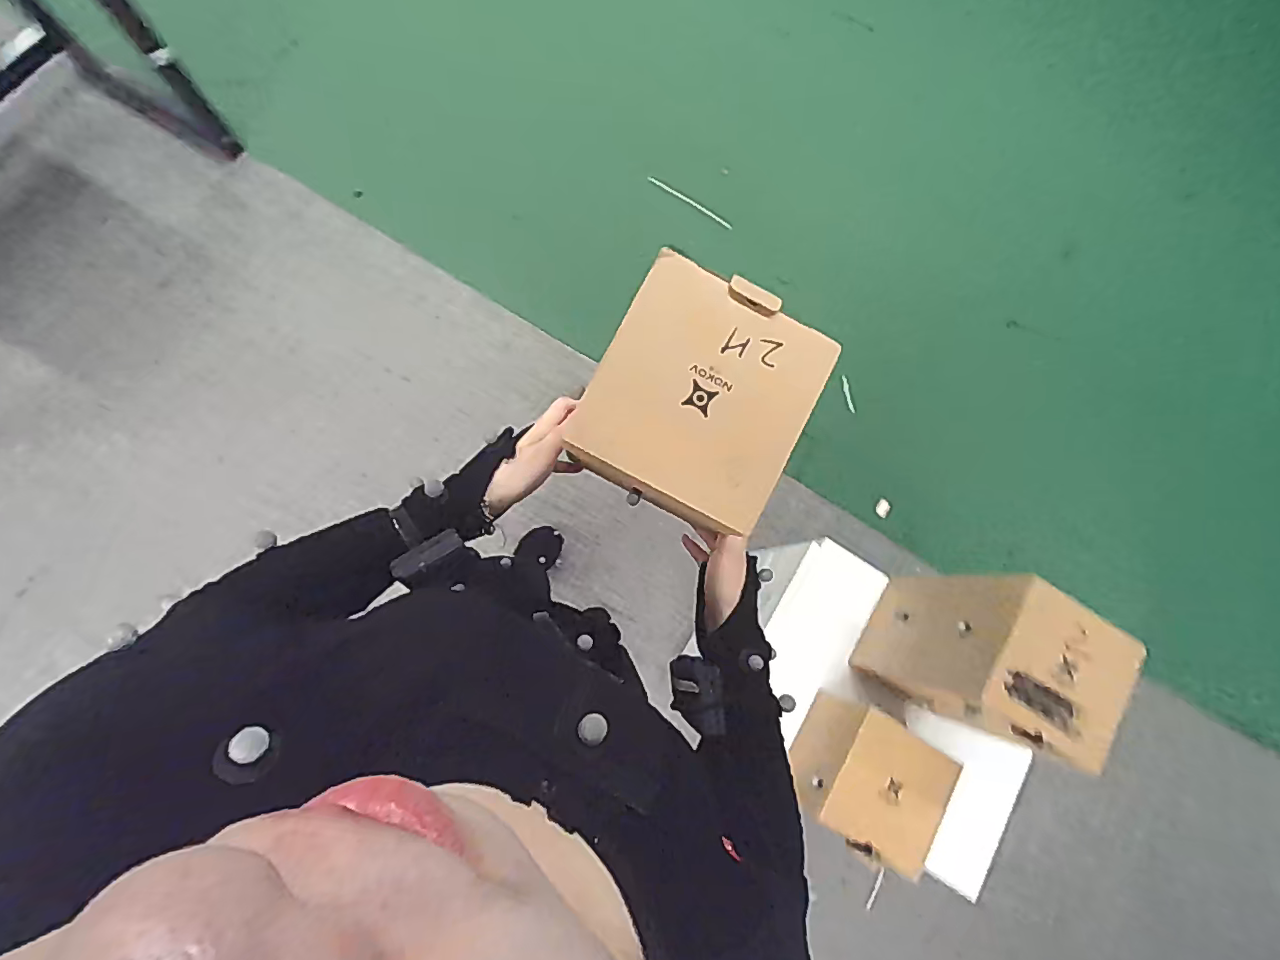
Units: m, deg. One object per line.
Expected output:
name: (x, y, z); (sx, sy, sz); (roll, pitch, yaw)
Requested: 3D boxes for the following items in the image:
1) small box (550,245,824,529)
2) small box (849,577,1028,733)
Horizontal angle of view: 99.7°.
small box: (0.033, -0.070, 0.503); (0.168, 0.176, 0.179); (27, 85, -4)
small box: (0.483, 0.279, 0.901); (0.168, 0.176, 0.179); (33, 78, 1)
